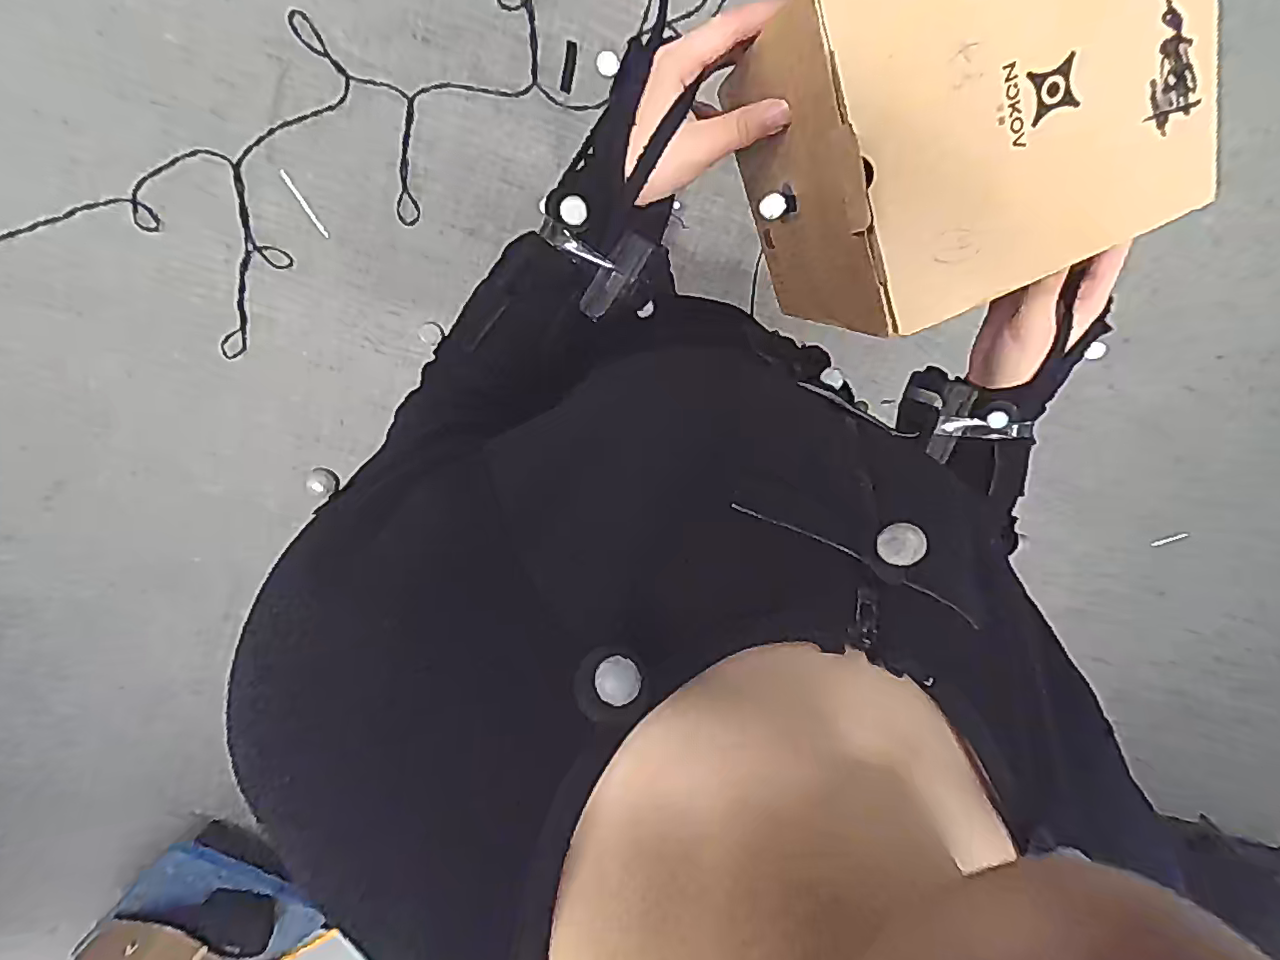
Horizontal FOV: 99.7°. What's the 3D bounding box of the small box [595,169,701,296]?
[{"bbox_3d":[0.017,-0.516,1.143,0.168,0.176,0.179,-30,102,8],"label":"small box"}]
